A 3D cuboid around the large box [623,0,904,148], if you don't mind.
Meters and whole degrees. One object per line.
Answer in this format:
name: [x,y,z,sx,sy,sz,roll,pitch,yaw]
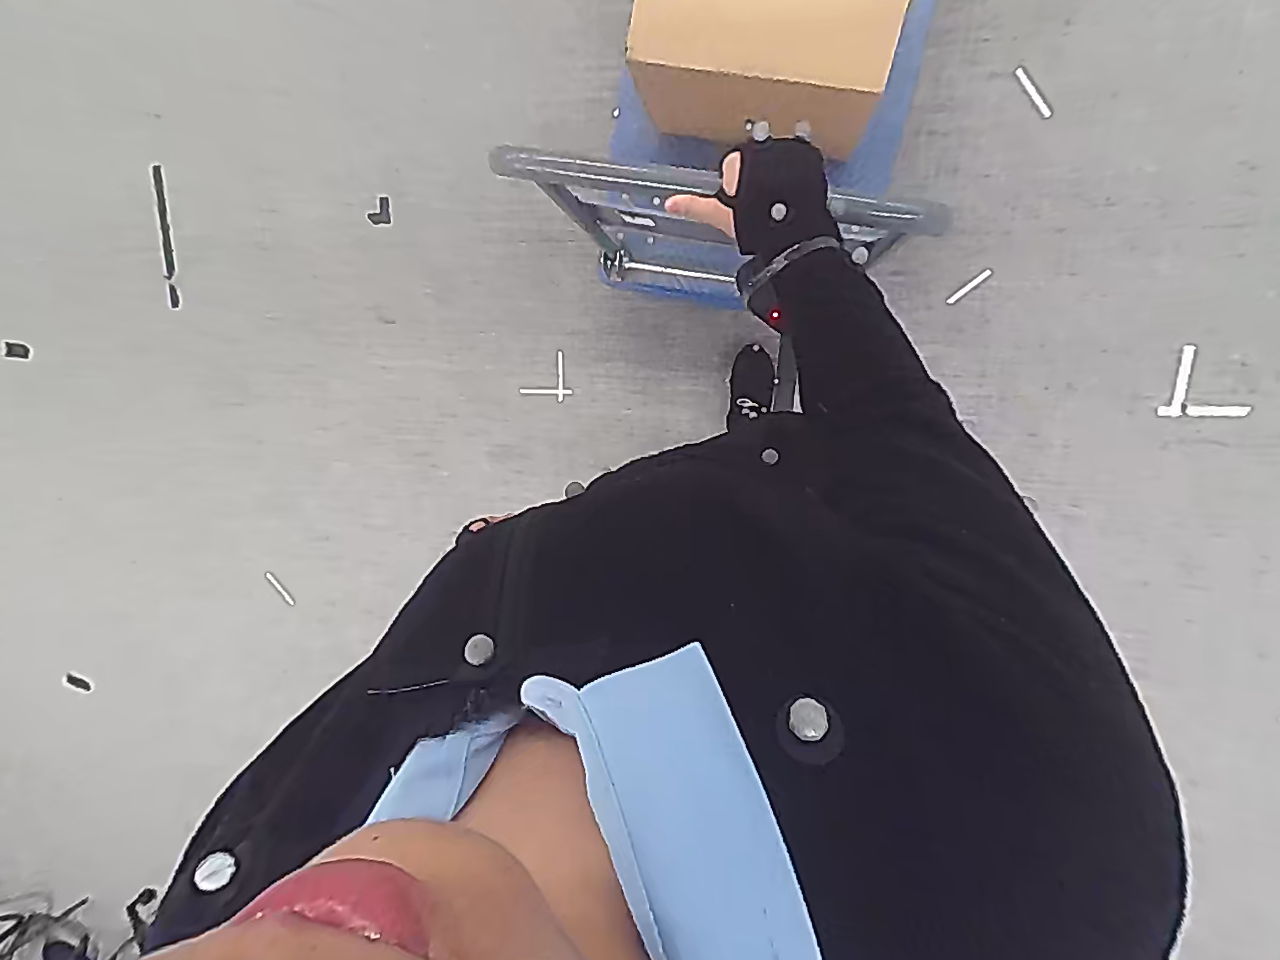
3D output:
large box: [0.223,-0.804,0.919,0.408,0.320,0.320,14,105,9]
